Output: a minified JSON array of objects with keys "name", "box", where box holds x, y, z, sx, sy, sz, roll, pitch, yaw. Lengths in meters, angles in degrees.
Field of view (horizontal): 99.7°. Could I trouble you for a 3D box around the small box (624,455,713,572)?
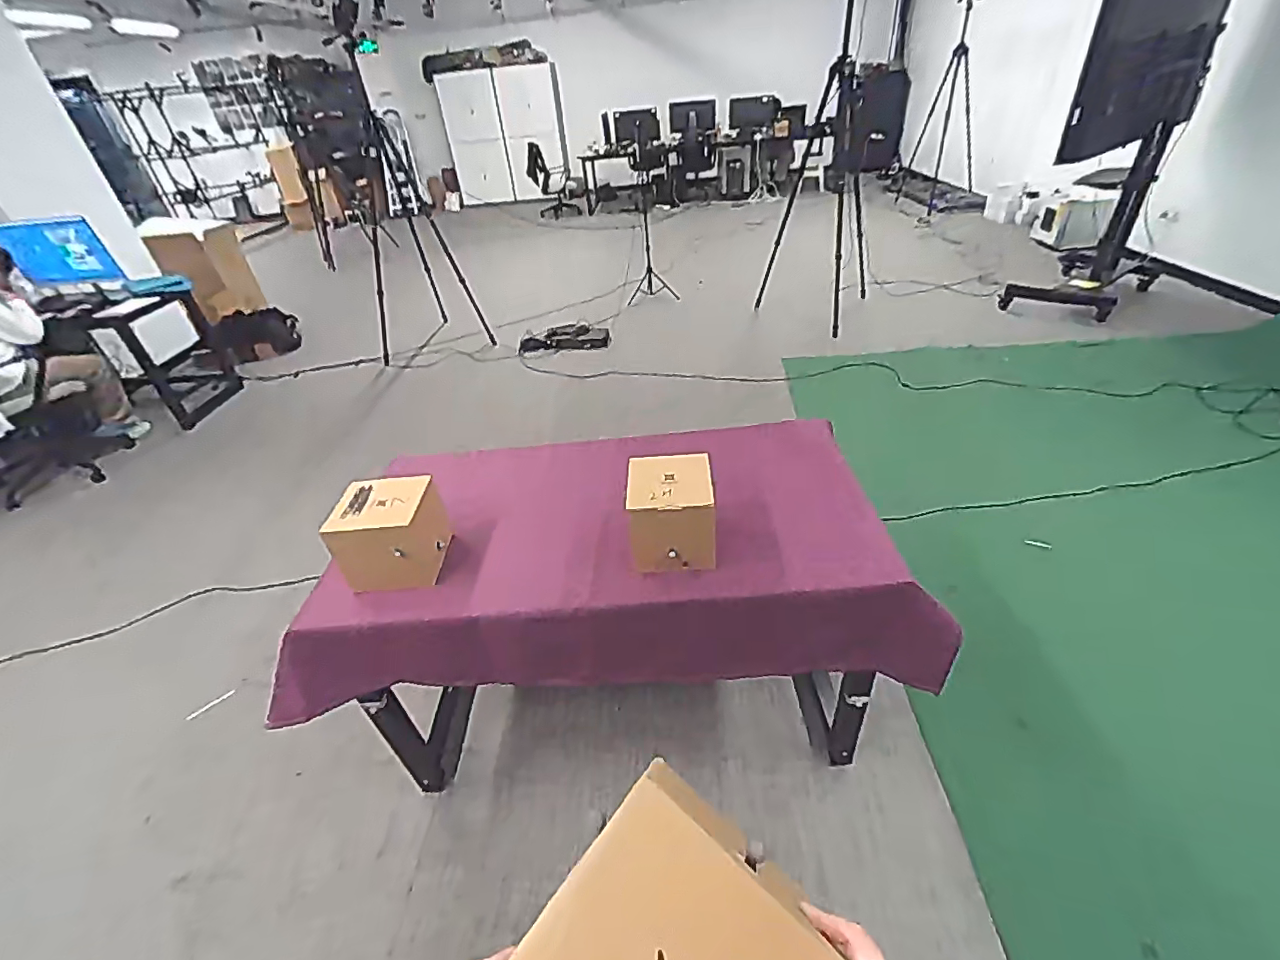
[{"name":"small box","box":[0.062,0.068,1.104,0.168,0.176,0.179,-4,37,5]}]
